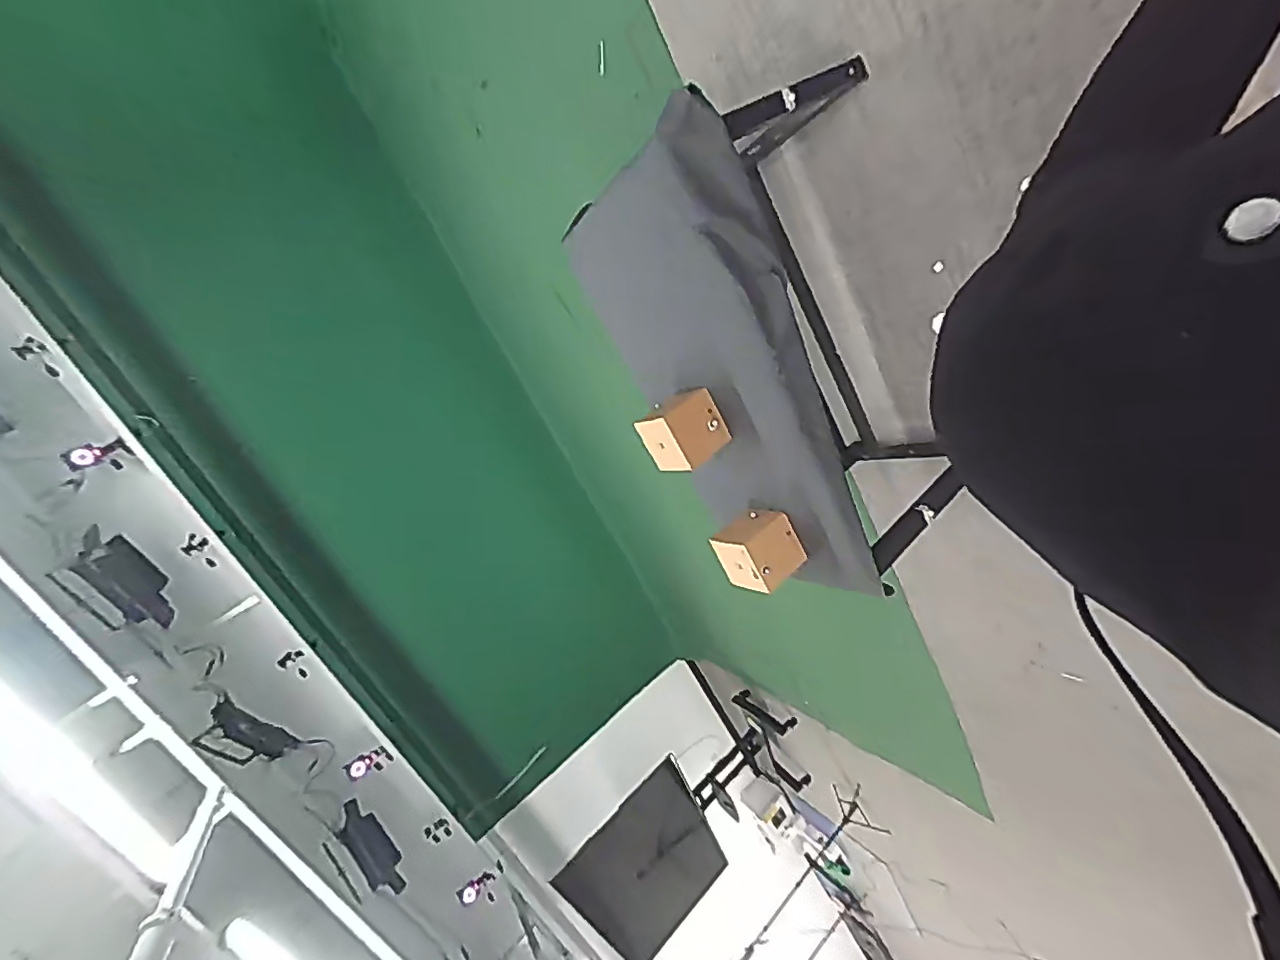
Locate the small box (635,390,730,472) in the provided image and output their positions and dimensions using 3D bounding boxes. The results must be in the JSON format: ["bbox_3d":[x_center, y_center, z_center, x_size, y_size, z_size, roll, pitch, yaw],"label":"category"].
[{"bbox_3d":[0.121,-0.136,1.534,0.168,0.176,0.179,58,156,-14],"label":"small box"}]

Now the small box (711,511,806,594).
[{"bbox_3d":[0.346,0.203,1.577,0.168,0.176,0.179,59,158,-14],"label":"small box"}]
